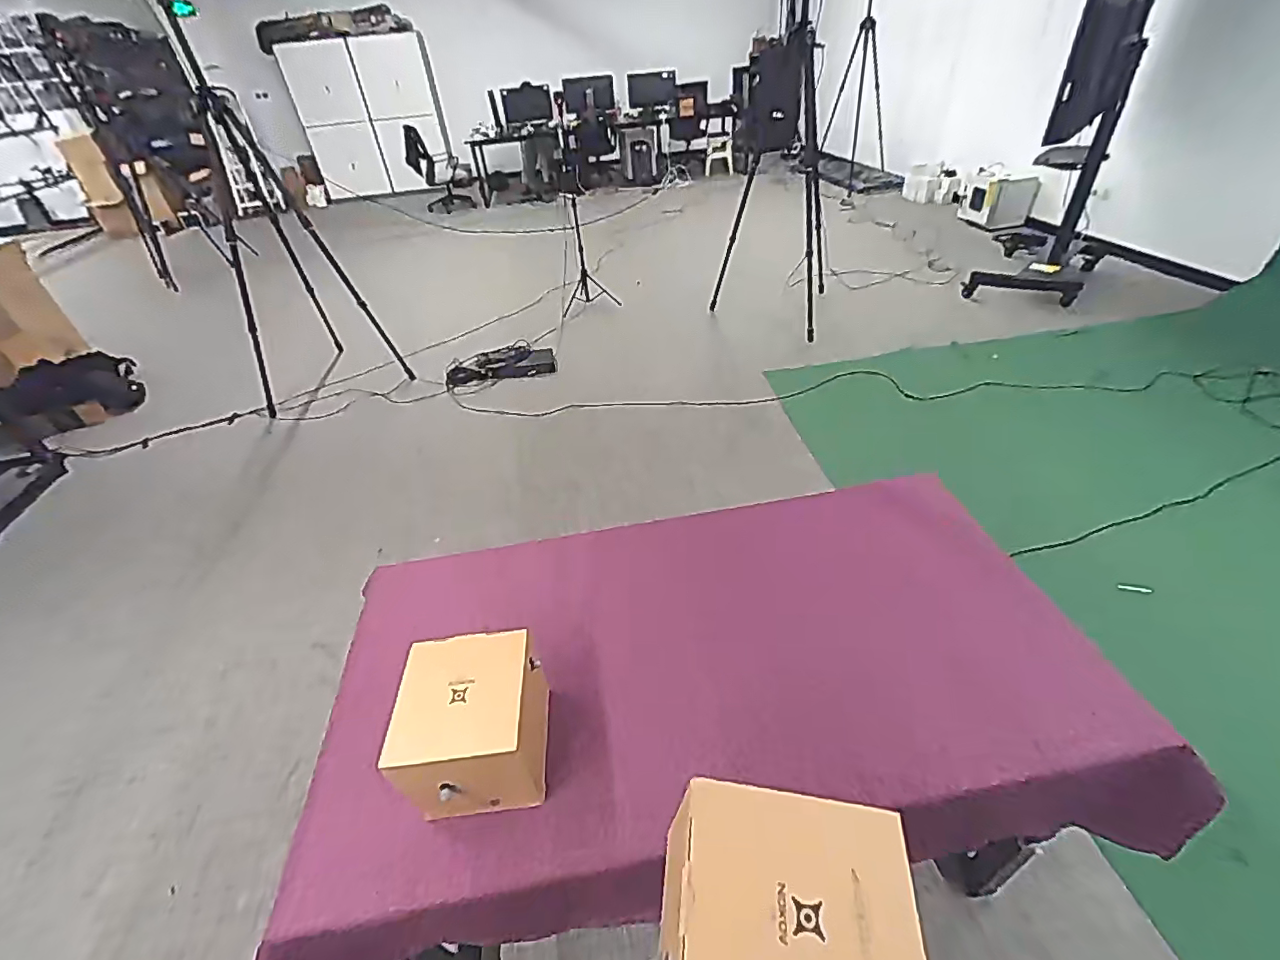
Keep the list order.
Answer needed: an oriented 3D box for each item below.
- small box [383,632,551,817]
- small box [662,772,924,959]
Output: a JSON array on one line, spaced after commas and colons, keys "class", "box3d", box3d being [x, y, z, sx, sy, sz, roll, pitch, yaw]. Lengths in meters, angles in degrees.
[{"class": "small box", "box3d": [-0.222, 0.343, 0.750, 0.168, 0.176, 0.179, -8, 37, -1]}, {"class": "small box", "box3d": [0.112, 0.373, 0.452, 0.179, 0.176, 0.168, 8, 44, 4]}]
